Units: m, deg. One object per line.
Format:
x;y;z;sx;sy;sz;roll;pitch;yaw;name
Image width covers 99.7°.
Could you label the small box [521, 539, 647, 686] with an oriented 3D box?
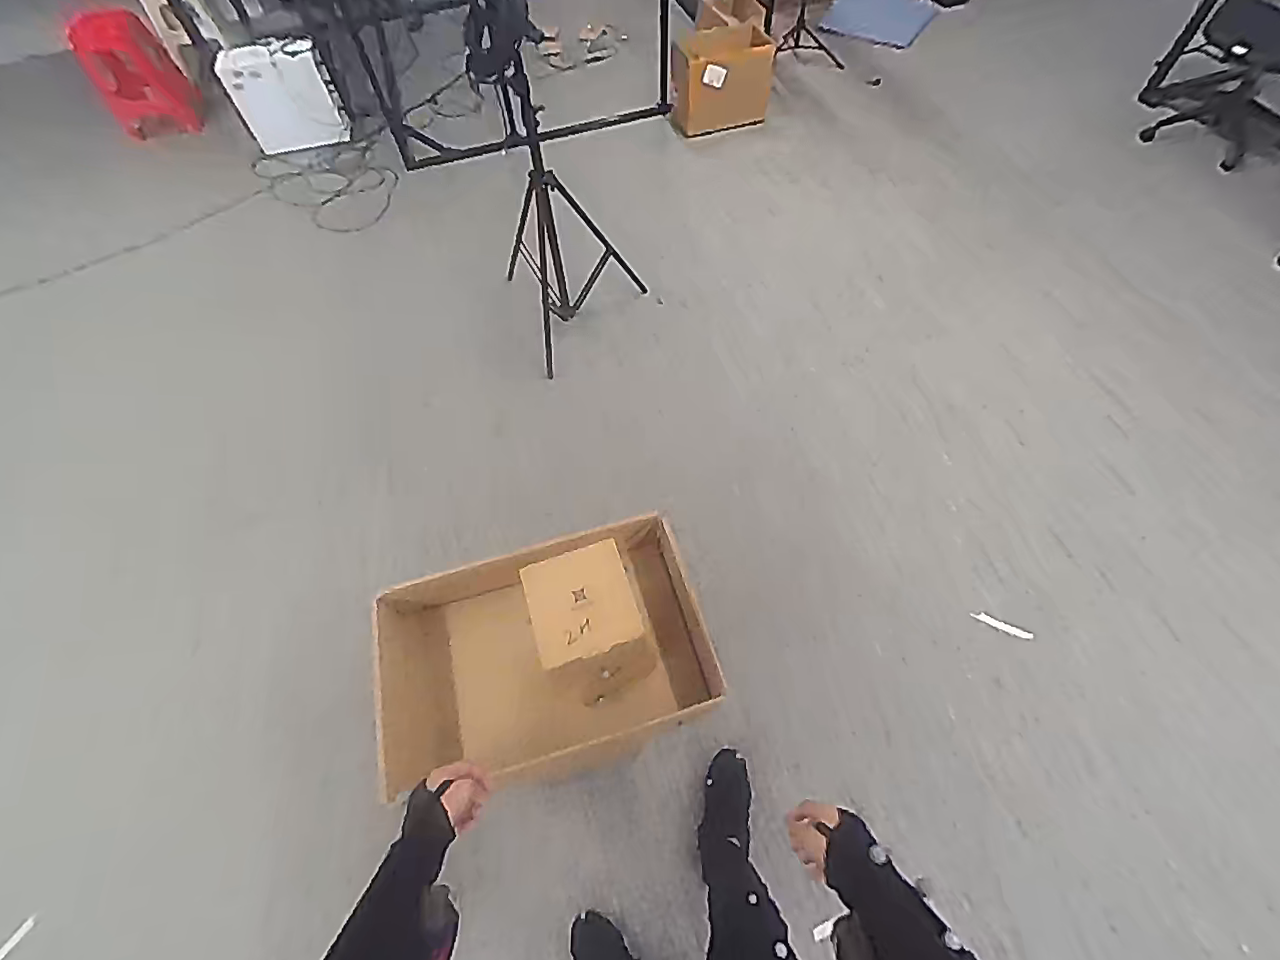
-0.091;0.231;0.927;0.168;0.176;0.179;-18;61;-7;small box
